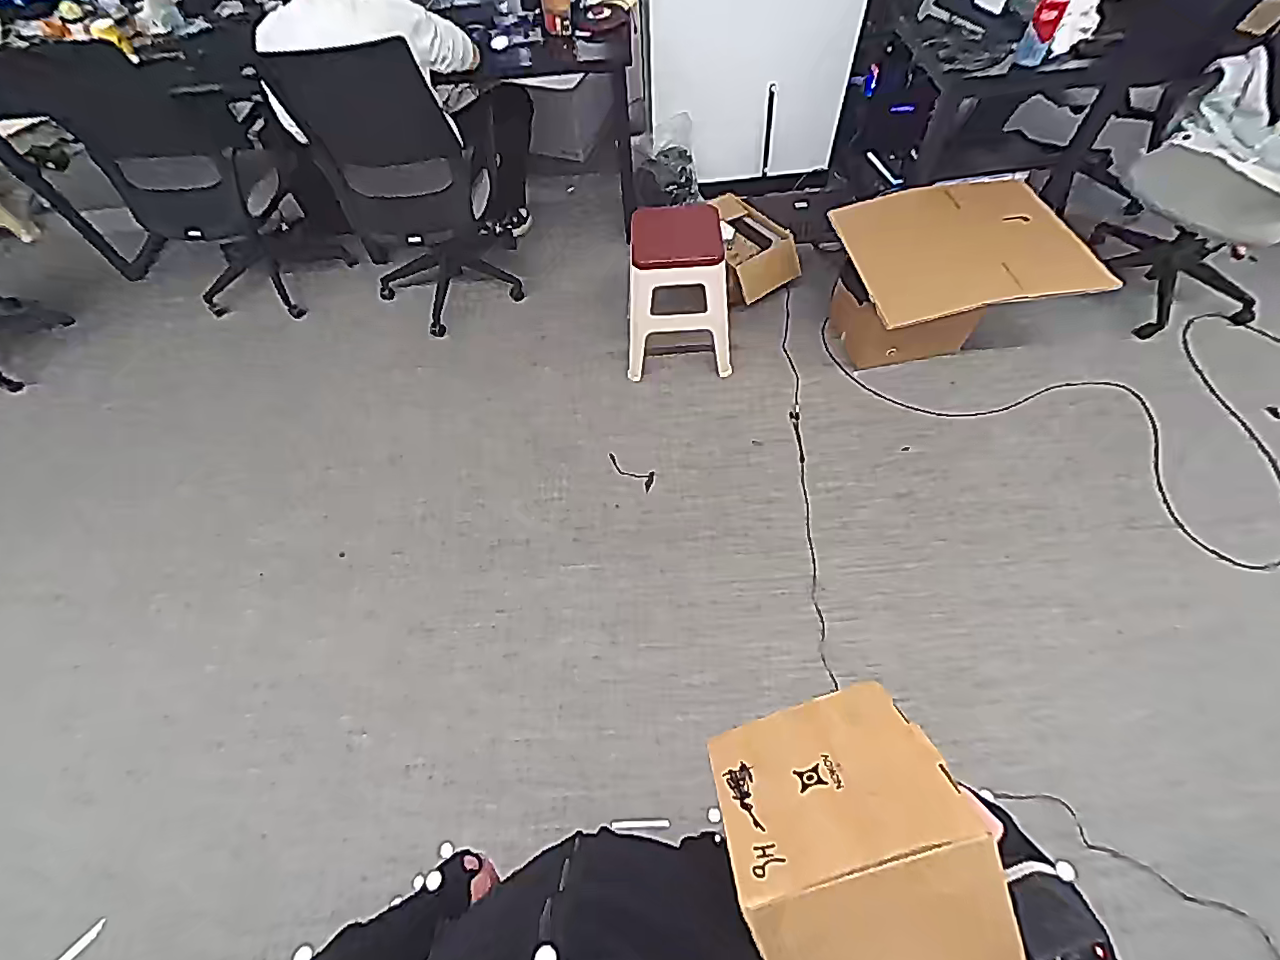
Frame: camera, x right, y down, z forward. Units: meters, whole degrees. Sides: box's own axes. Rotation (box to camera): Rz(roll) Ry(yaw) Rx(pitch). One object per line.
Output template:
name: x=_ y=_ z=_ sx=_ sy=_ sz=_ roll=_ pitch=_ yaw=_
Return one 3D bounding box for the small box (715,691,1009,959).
small box: x=0.183 y=0.326 z=0.470 sx=0.179 sy=0.168 sz=0.176 roll=-20 pitch=103 yaw=3
